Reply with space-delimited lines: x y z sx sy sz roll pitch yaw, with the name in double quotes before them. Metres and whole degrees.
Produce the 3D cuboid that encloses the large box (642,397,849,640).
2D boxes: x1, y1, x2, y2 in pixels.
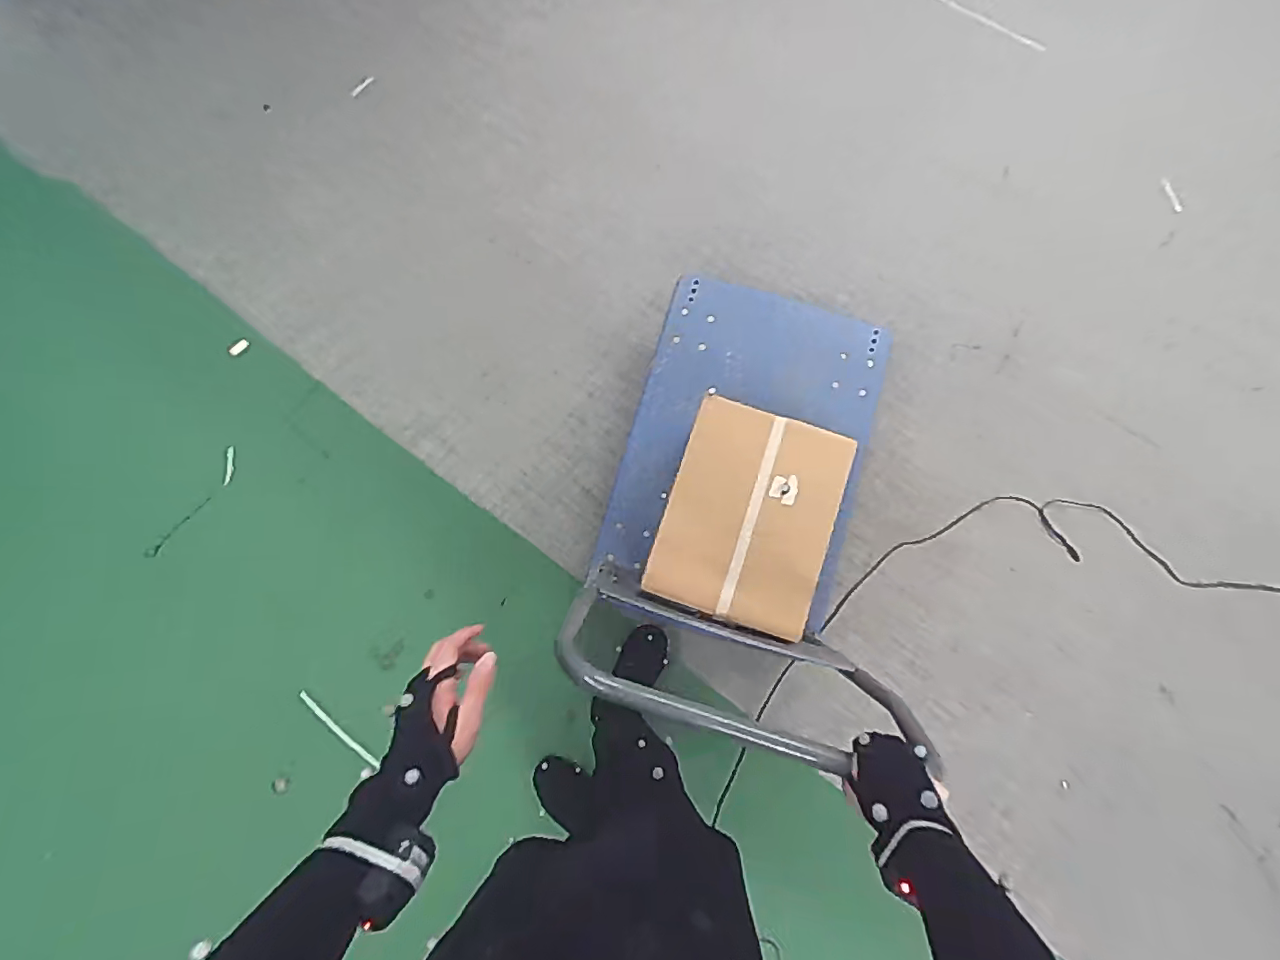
"large box" 0.207 0.091 1.177 0.320 0.320 0.408 18 82 3
